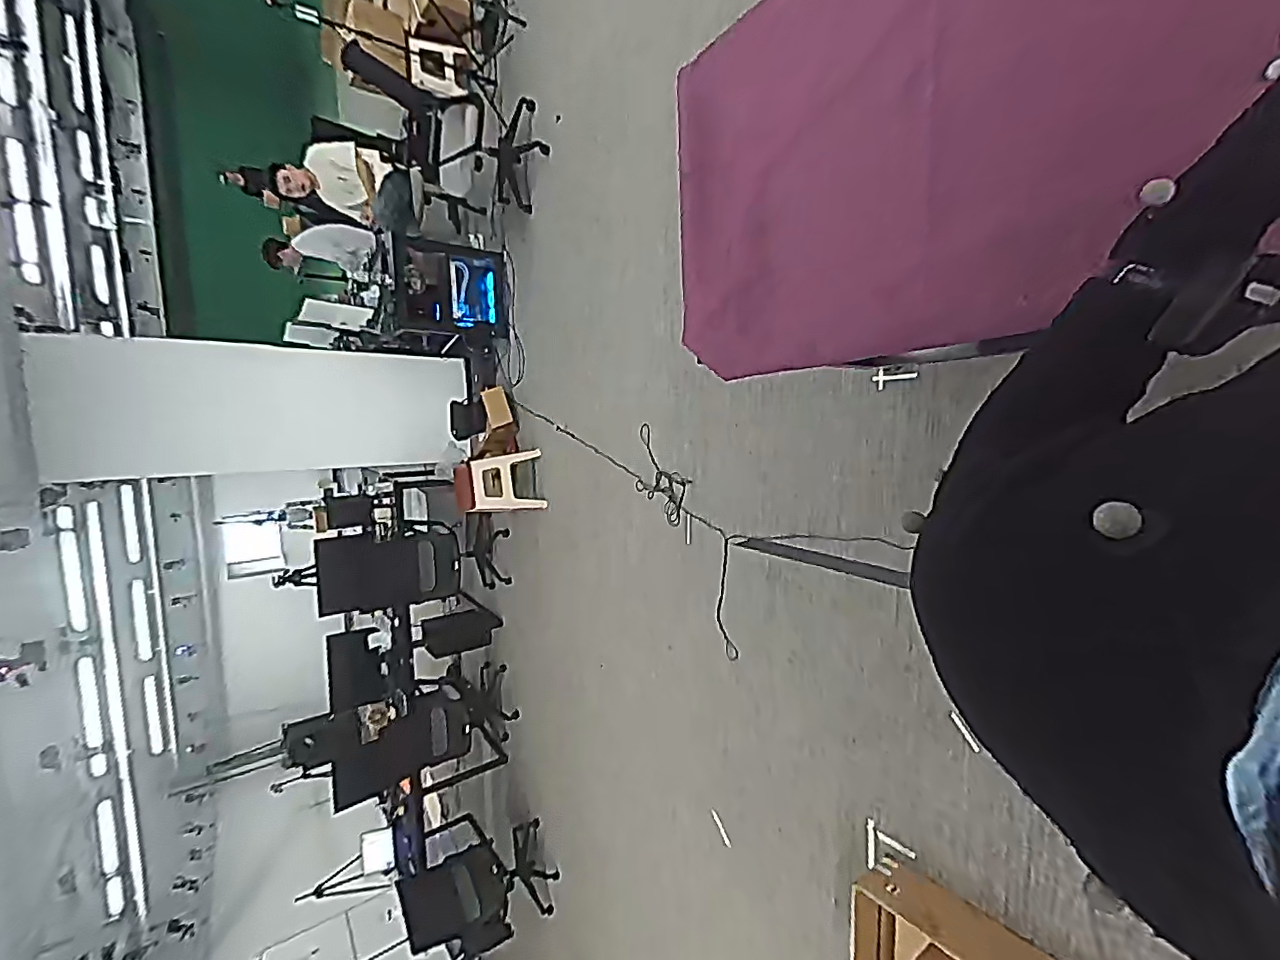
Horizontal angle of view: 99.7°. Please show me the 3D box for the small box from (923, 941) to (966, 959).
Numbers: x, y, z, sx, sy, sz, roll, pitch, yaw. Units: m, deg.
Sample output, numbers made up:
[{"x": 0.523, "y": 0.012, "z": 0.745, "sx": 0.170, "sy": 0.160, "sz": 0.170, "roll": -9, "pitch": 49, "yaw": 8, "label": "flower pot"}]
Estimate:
[{"x": 0.849, "y": 1.416, "z": 1.457, "sx": 0.168, "sy": 0.176, "sz": 0.179, "roll": 4, "pitch": 98, "yaw": 54, "label": "small box"}]
